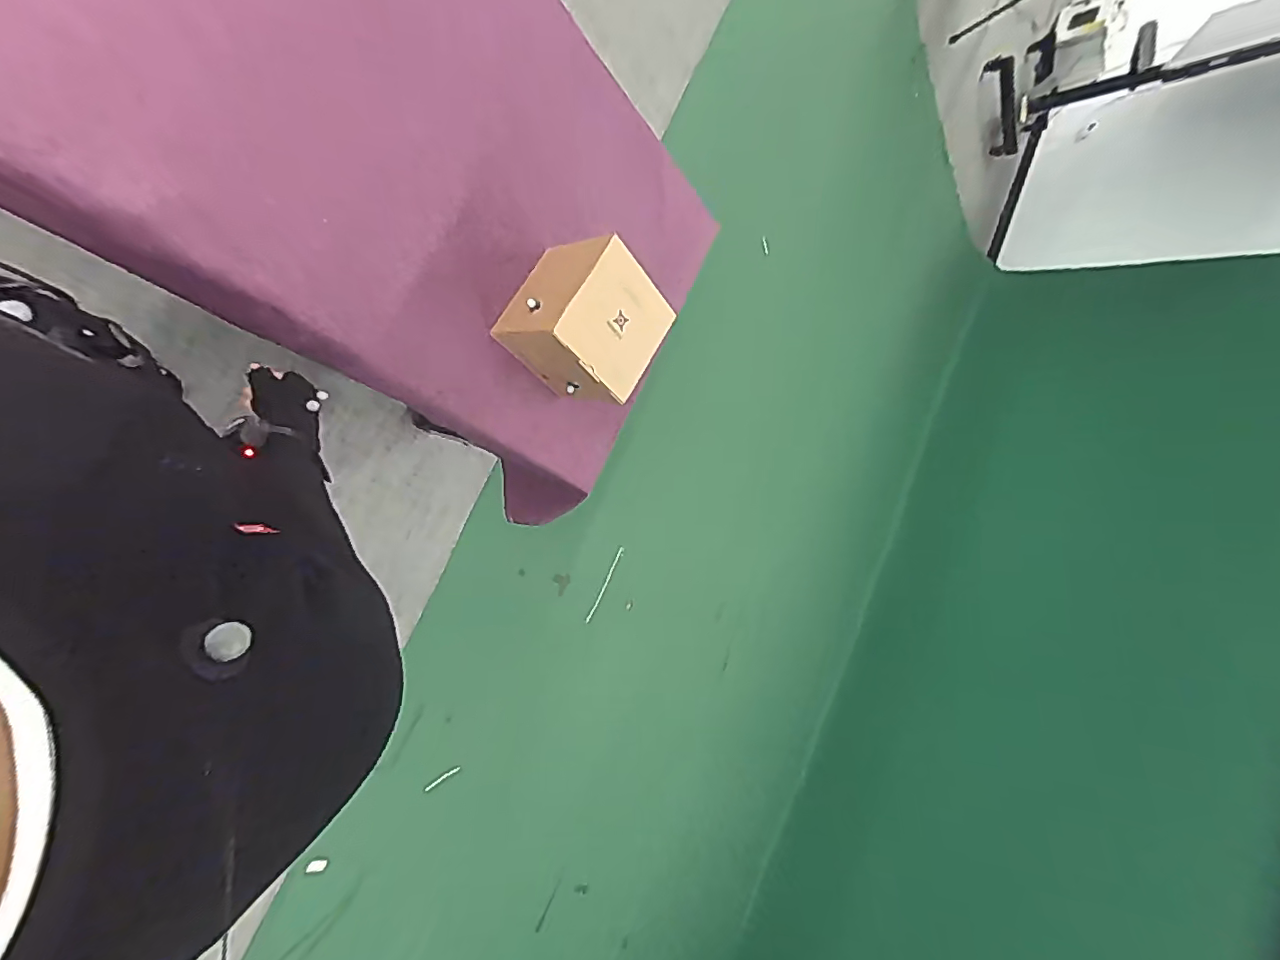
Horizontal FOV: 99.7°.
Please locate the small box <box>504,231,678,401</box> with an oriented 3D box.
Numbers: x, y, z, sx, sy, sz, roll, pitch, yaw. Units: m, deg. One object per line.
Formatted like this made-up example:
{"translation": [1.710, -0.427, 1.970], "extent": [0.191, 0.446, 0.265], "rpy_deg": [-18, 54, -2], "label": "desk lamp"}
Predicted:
{"translation": [-0.081, -0.243, 0.825], "extent": [0.168, 0.176, 0.179], "rpy_deg": [43, 71, -42], "label": "small box"}
